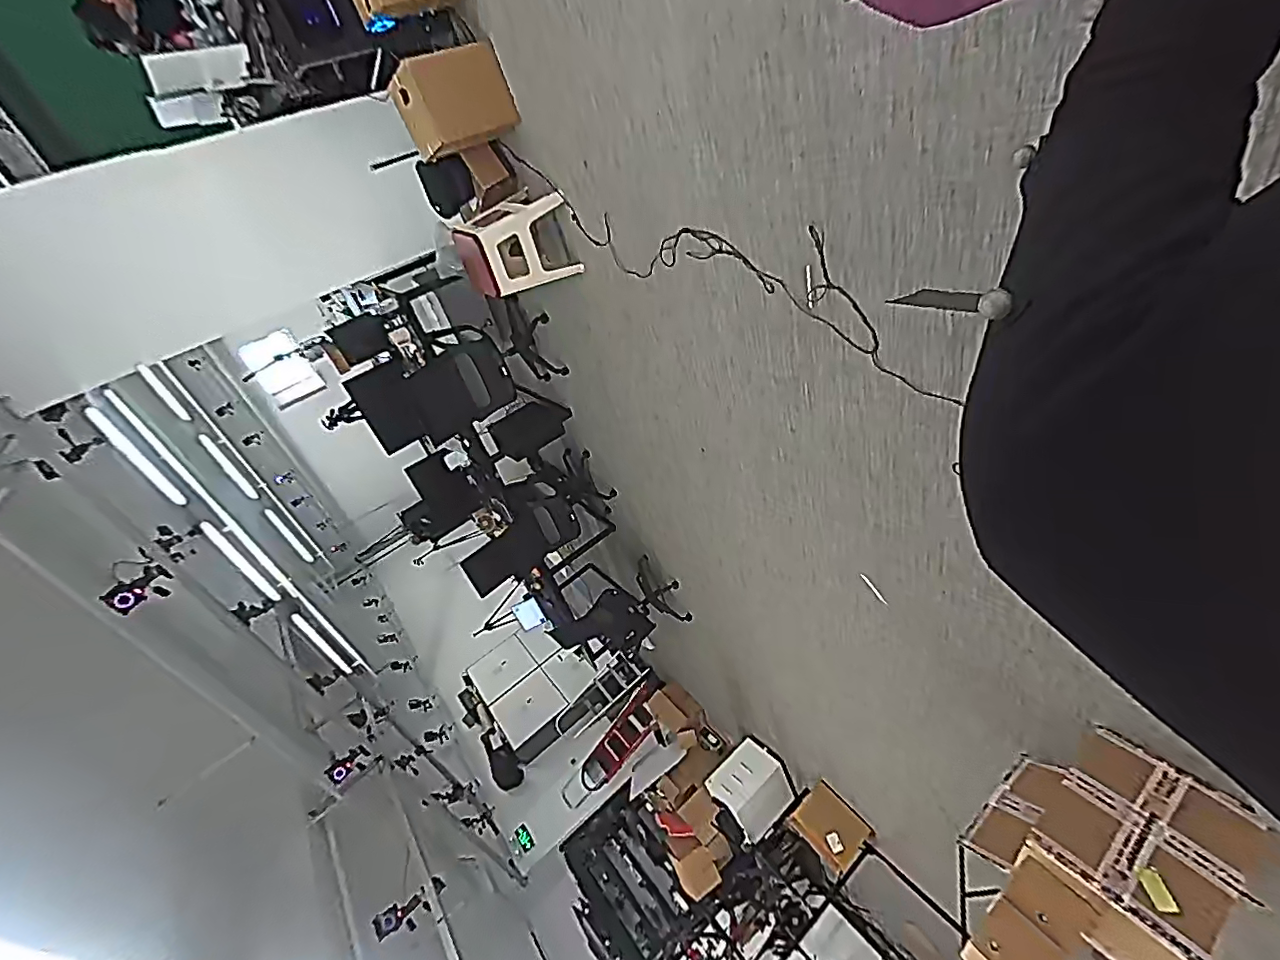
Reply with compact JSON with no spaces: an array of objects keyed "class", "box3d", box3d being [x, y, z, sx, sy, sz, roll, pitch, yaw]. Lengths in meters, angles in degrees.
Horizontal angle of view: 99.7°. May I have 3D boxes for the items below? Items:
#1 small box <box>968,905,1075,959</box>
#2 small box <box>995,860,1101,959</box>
[{"class":"small box","box3d":[1.060,1.333,1.505,0.179,0.176,0.168,34,149,46]},{"class":"small box","box3d":[1.193,1.269,1.583,0.179,0.176,0.168,37,150,43]}]
